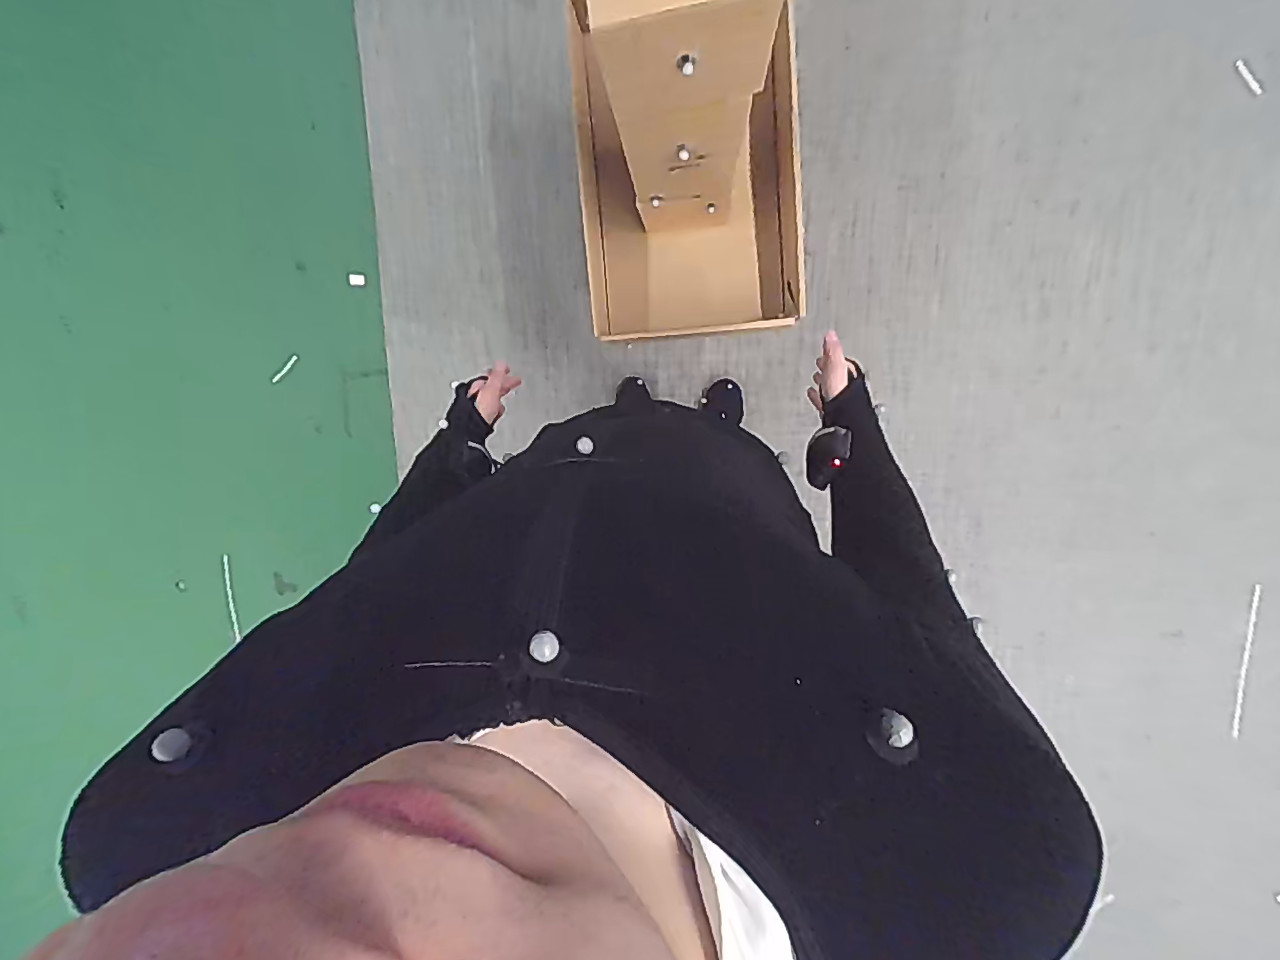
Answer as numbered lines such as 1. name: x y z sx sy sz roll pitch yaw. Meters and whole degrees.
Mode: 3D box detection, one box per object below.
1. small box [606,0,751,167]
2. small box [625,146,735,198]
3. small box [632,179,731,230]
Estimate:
1. small box: 0.049 -0.538 0.698 0.168 0.176 0.179 -3 99 6
2. small box: 0.065 -0.566 0.859 0.168 0.176 0.179 -1 98 5
3. small box: 0.078 -0.587 1.021 0.179 0.176 0.168 -3 99 6
